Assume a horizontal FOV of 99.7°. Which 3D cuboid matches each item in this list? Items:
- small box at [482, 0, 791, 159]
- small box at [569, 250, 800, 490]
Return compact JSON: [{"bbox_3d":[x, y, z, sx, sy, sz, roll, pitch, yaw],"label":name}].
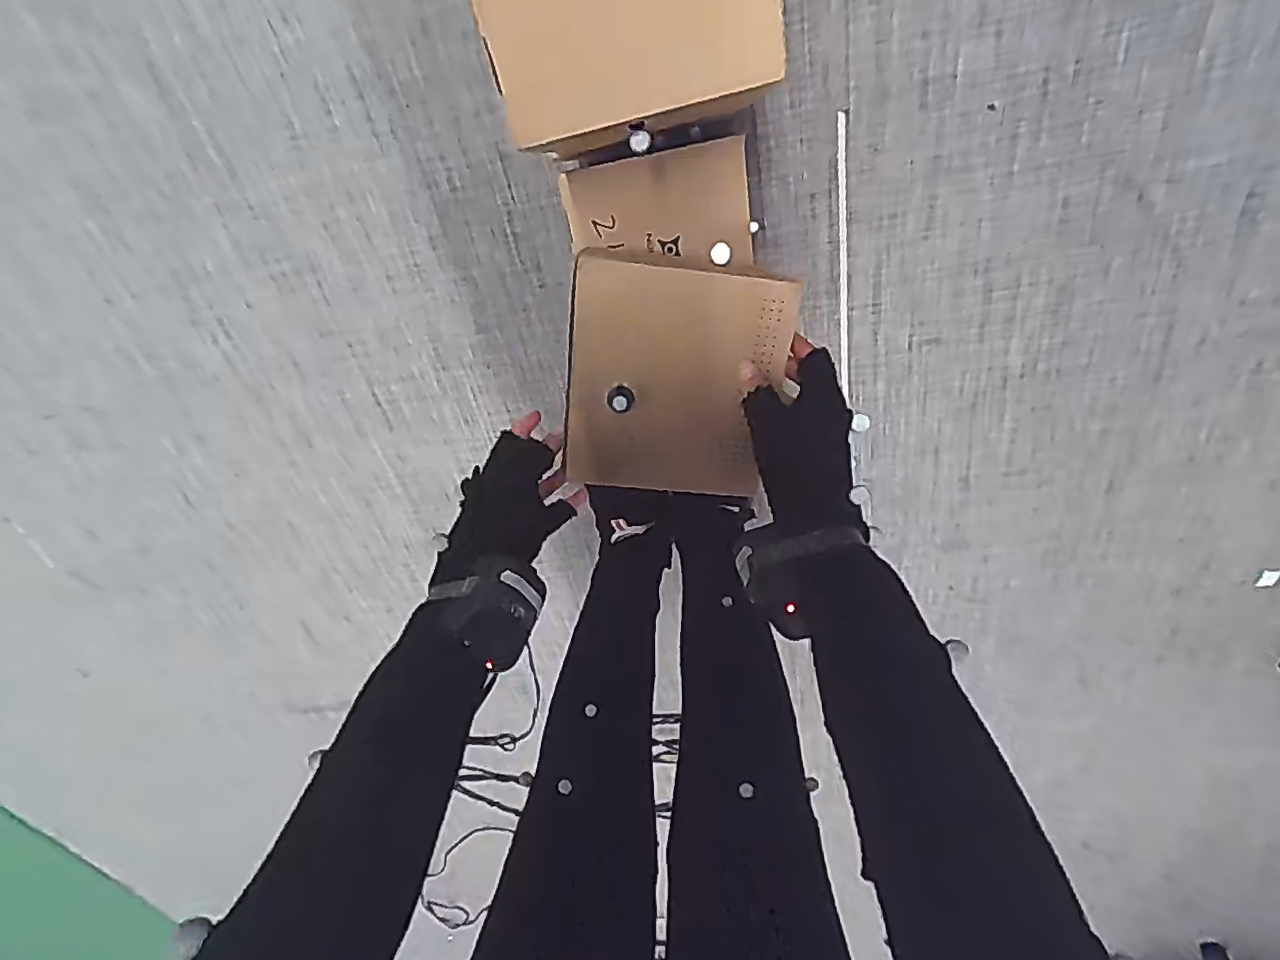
[{"bbox_3d":[-0.003,-0.335,0.372,0.179,0.176,0.168,-8,120,10],"label":"small box"},{"bbox_3d":[0.031,-0.102,0.490,0.176,0.168,0.179,5,115,-5],"label":"small box"}]
